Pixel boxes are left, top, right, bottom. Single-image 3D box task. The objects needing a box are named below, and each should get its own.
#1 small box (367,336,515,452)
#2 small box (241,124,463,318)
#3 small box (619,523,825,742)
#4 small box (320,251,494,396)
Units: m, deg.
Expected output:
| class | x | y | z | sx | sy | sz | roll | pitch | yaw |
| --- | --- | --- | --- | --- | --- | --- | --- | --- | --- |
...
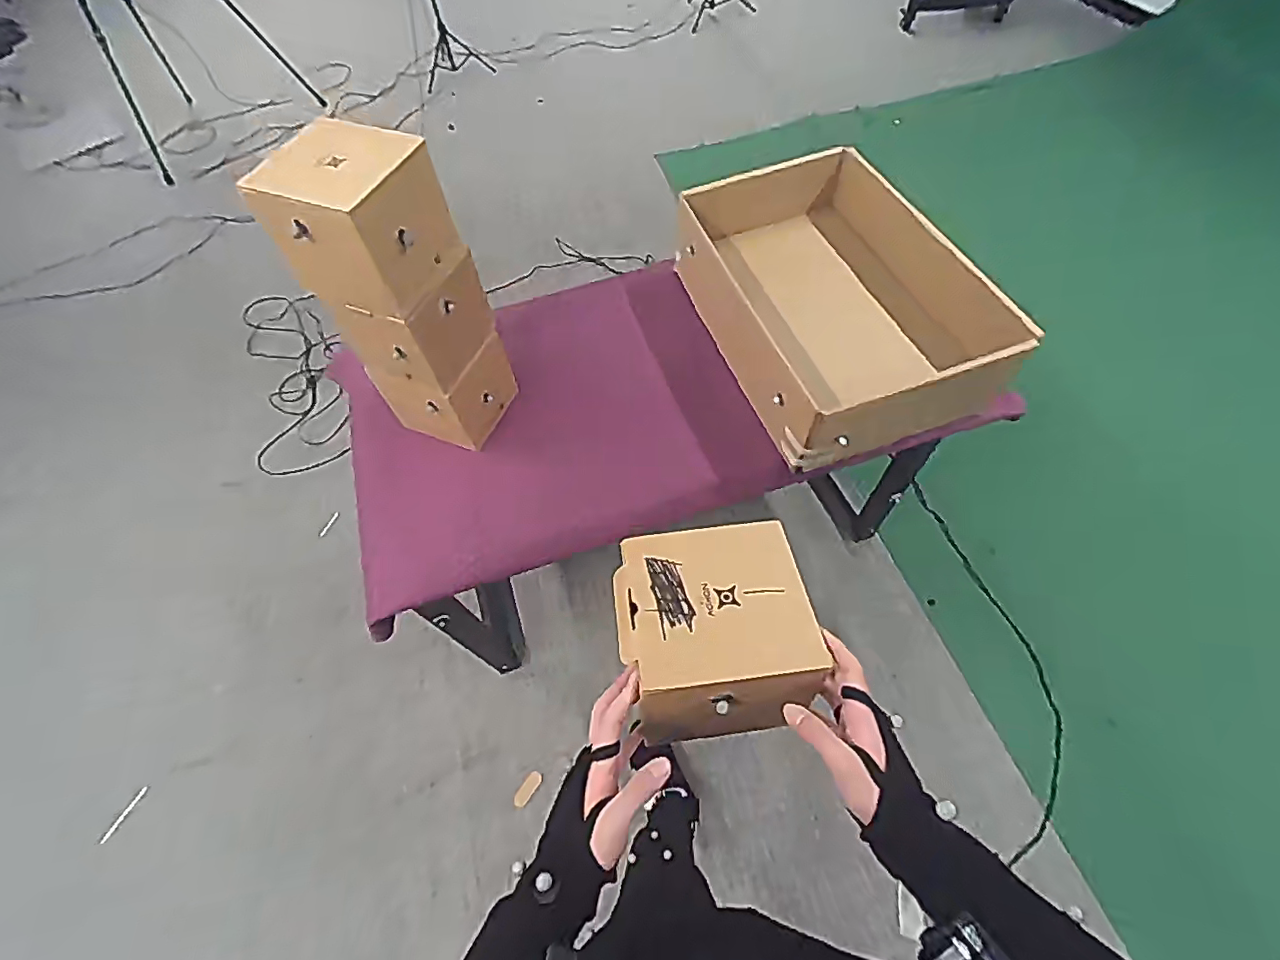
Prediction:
| class | x | y | z | sx | sy | sz | roll | pitch | yaw |
| --- | --- | --- | --- | --- | --- | --- | --- | --- | --- |
| small box | -0.360 | -0.177 | 1.021 | 0.179 | 0.176 | 0.168 | 19 | 61 | 14 |
| small box | -0.376 | -0.349 | 0.746 | 0.179 | 0.176 | 0.168 | 18 | 62 | 13 |
| small box | 0.075 | 0.169 | 0.589 | 0.179 | 0.176 | 0.168 | -6 | 49 | -4 |
| small box | -0.364 | -0.266 | 0.885 | 0.168 | 0.176 | 0.179 | 20 | 62 | 13 |
